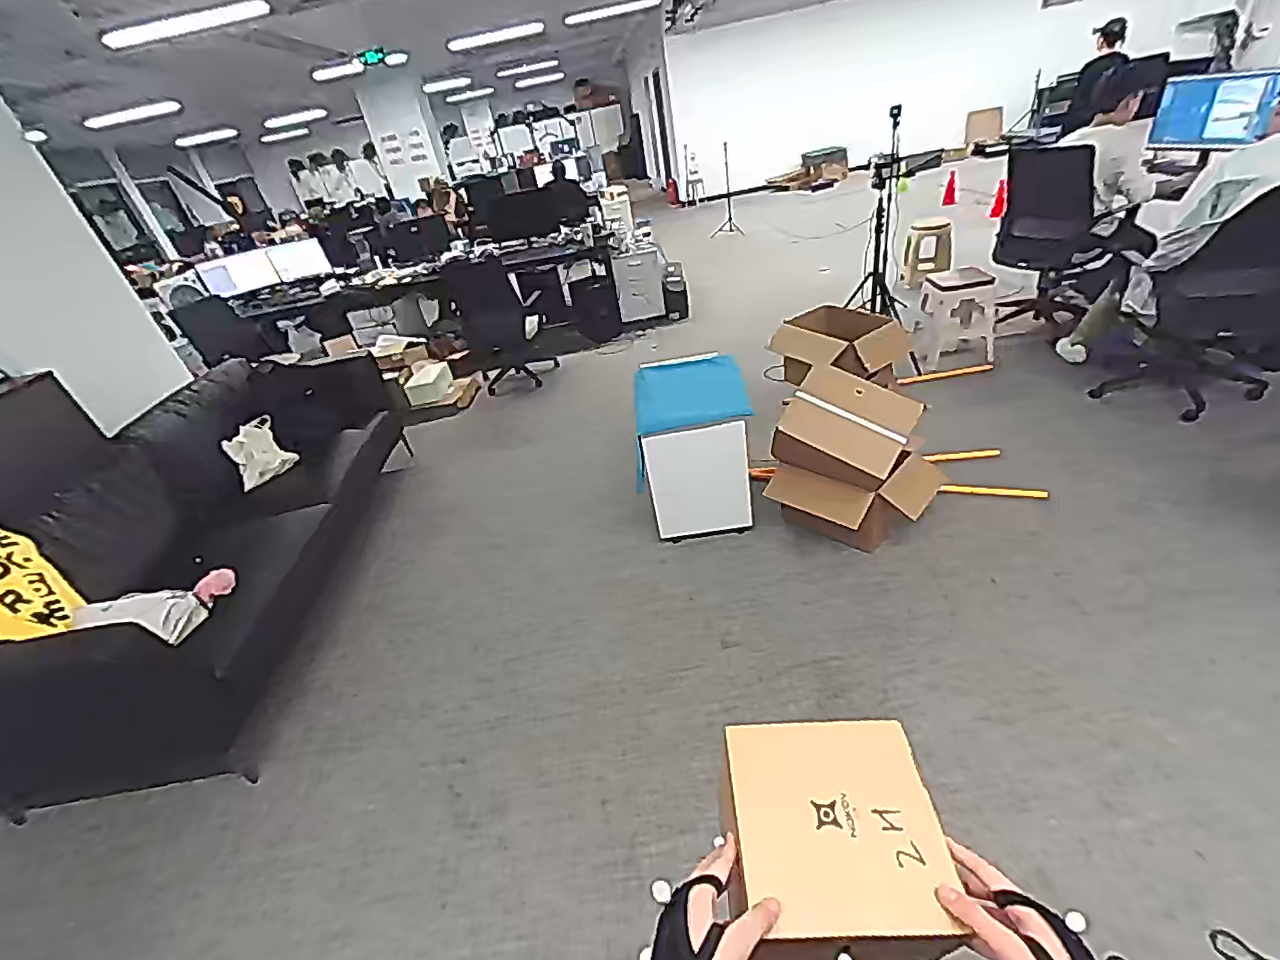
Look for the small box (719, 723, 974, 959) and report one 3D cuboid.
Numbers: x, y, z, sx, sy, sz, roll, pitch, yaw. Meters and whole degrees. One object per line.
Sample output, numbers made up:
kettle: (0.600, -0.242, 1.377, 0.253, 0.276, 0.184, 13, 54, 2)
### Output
small box: (0.171, 0.354, 0.517, 0.179, 0.176, 0.168, -3, 41, 2)
